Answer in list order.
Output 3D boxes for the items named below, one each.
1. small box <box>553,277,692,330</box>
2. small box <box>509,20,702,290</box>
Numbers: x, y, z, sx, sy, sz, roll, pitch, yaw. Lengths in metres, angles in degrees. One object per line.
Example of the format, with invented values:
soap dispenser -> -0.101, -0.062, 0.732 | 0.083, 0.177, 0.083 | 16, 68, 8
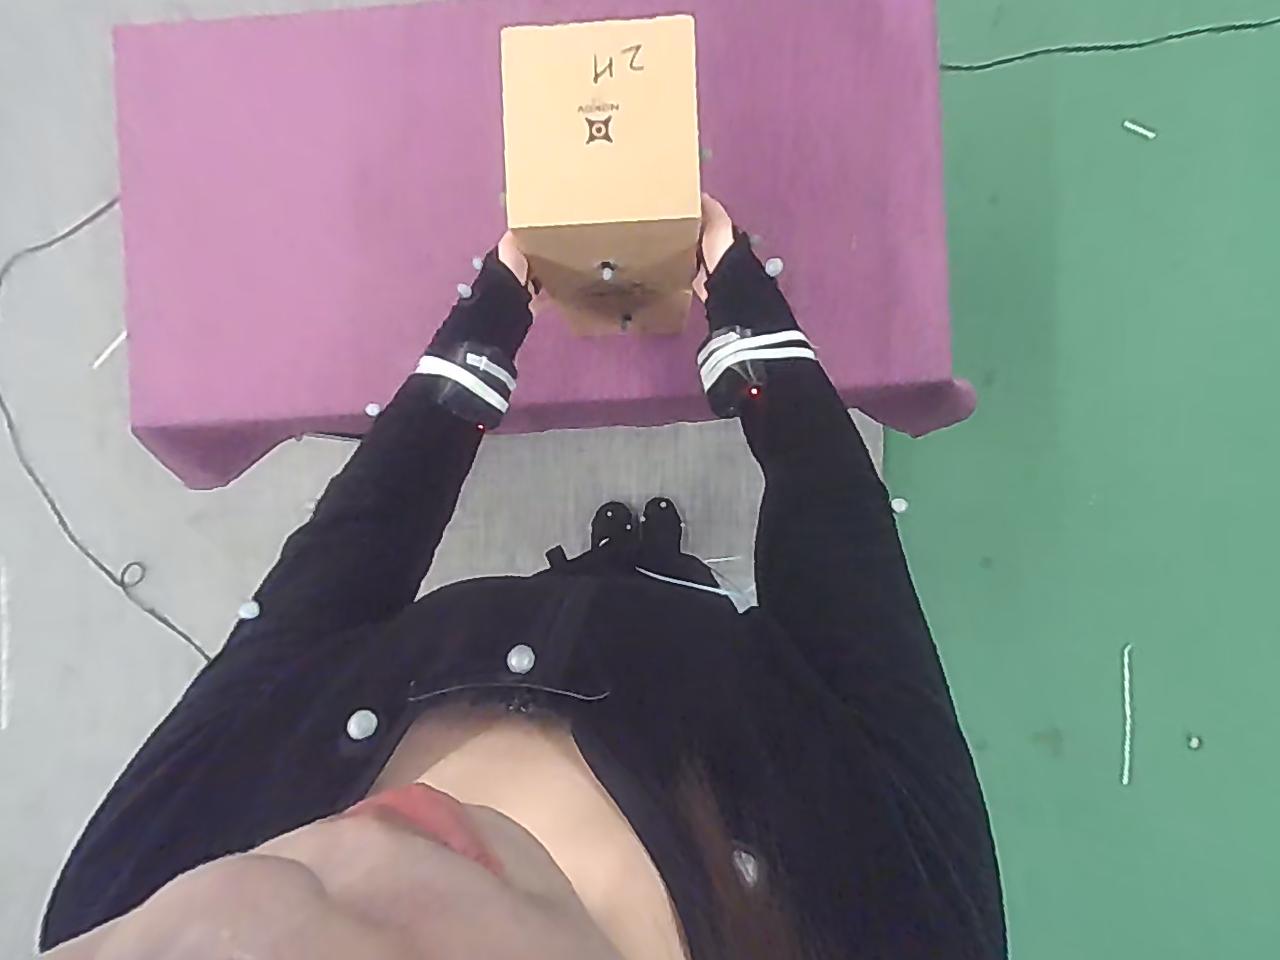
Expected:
small box -> -0.018, -0.299, 0.704 | 0.168, 0.176, 0.179 | -1, 91, 1
small box -> -0.026, -0.299, 0.538 | 0.168, 0.176, 0.179 | -2, 90, 1
